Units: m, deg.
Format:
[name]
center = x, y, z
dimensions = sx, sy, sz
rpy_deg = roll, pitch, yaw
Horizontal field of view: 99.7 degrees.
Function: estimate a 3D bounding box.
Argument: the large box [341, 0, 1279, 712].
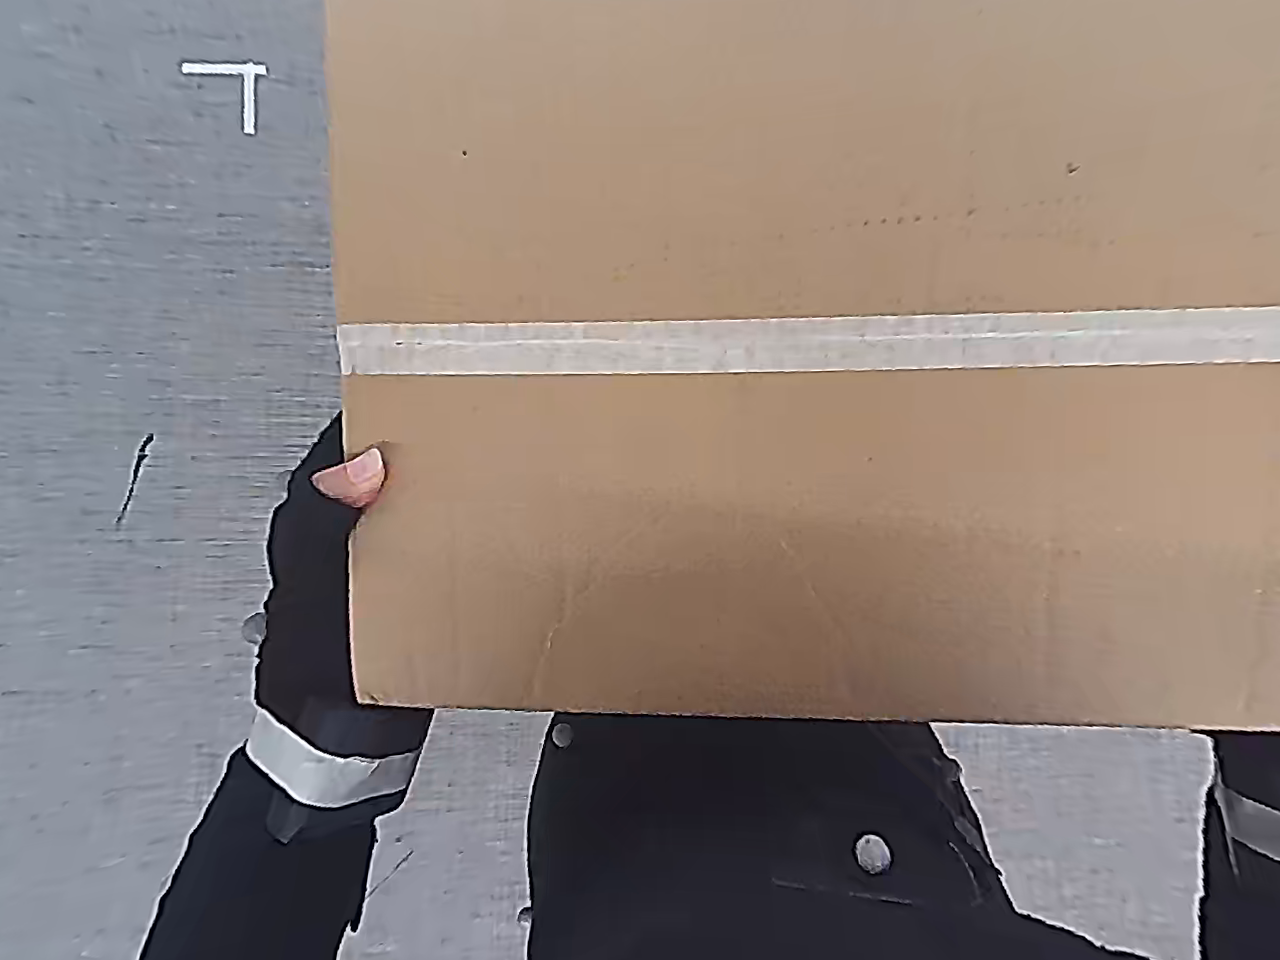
[large box]
center = 0.084, -0.064, 0.376
dimensions = 0.408, 0.320, 0.320
rpy_deg = 0, 94, 3
